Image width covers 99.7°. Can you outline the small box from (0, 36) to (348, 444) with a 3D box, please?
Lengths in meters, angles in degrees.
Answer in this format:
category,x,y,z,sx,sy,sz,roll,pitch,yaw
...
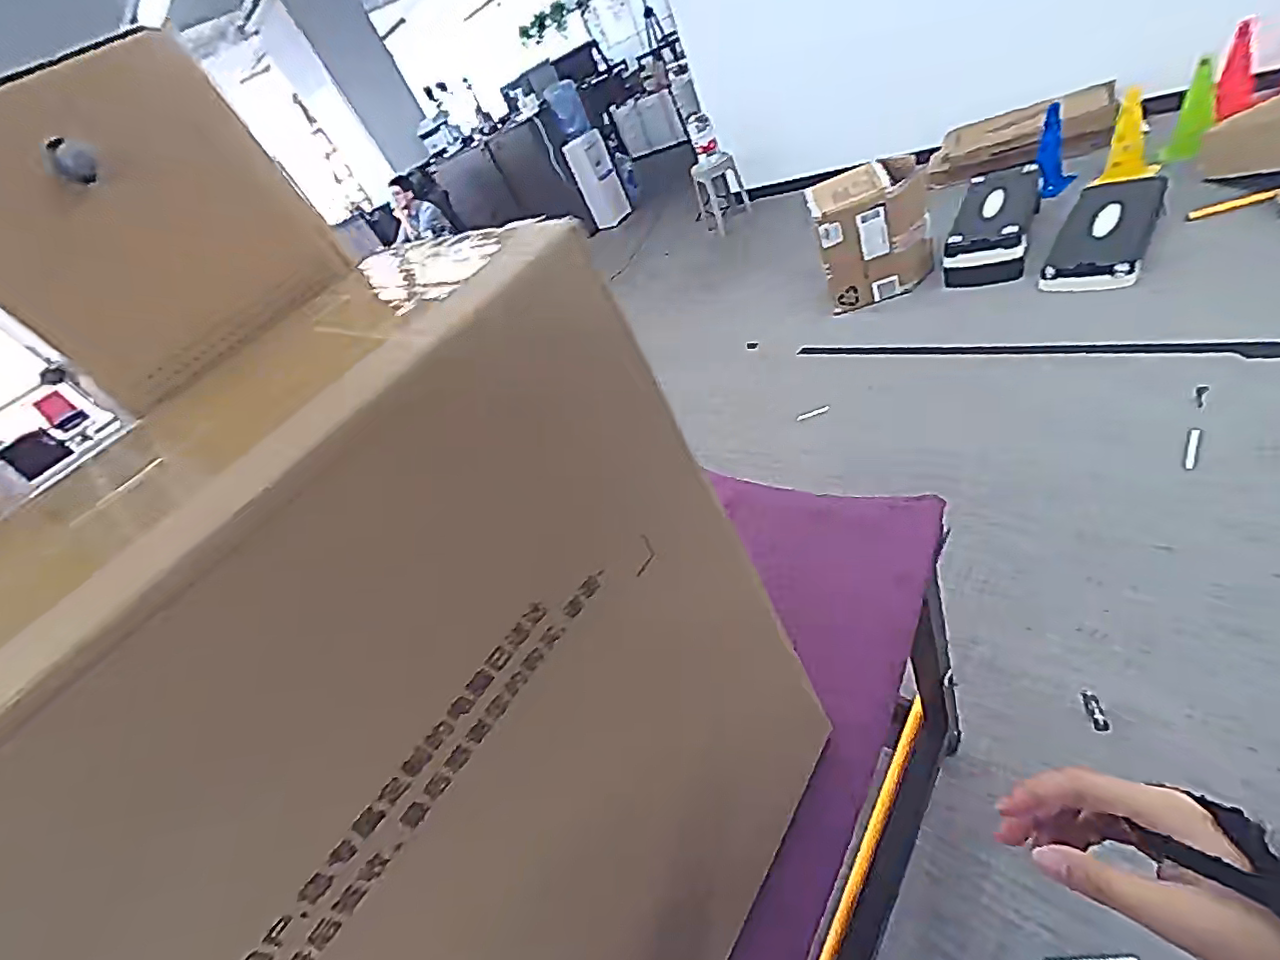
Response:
category,x,y,z,sx,sy,sz,roll,pitch,yaw
small box,-0.338,-0.148,0.371,0.168,0.176,0.179,7,53,39
